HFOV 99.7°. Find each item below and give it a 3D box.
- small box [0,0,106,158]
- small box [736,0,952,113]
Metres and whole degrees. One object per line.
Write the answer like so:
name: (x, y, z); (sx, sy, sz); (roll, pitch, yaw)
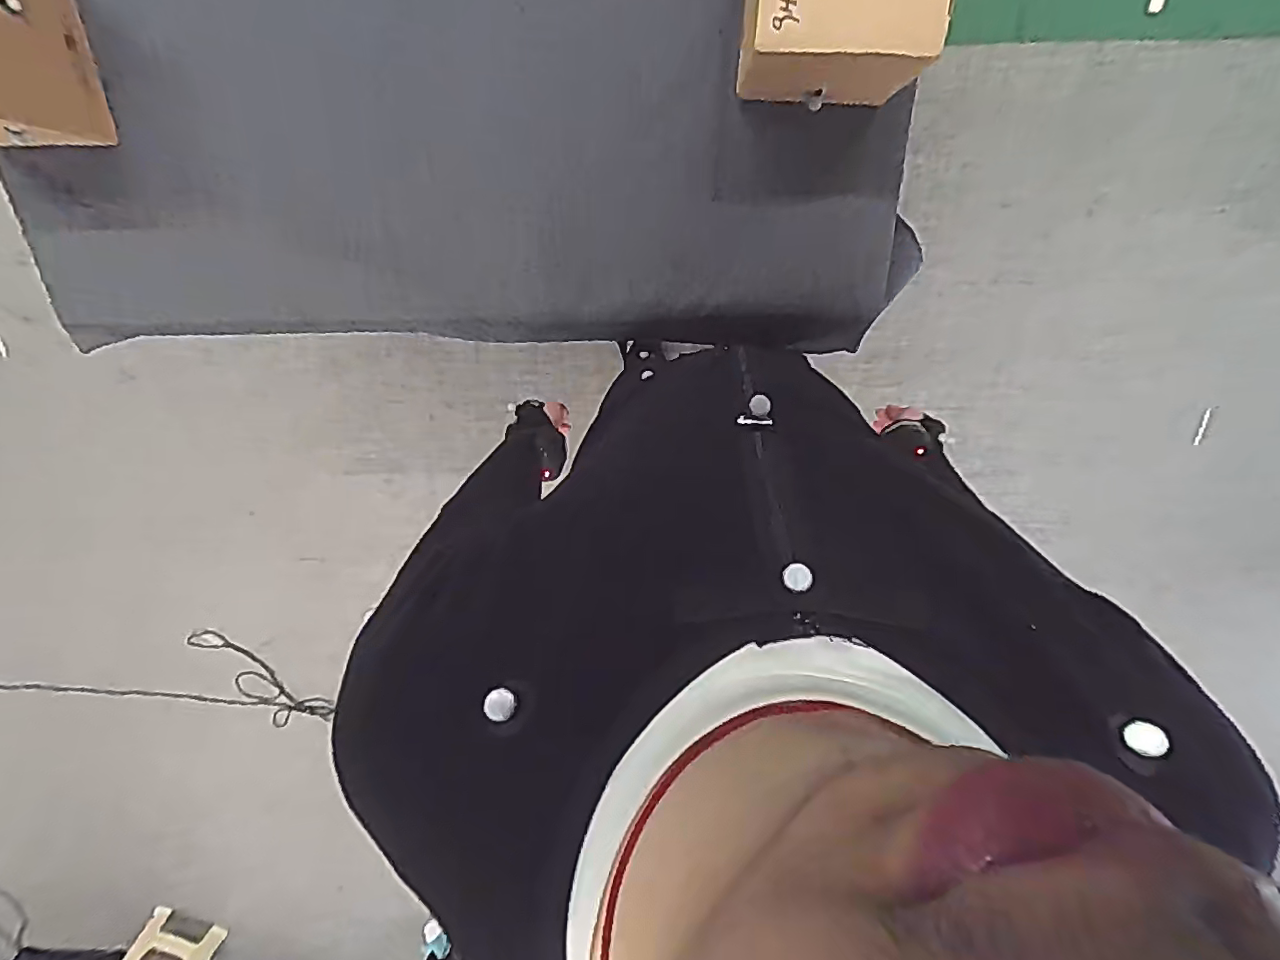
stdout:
small box: (-0.774, -0.480, 0.616); (0.179, 0.176, 0.168); (3, 110, 2)
small box: (0.204, -0.498, 0.560); (0.179, 0.176, 0.168); (4, 112, 2)
